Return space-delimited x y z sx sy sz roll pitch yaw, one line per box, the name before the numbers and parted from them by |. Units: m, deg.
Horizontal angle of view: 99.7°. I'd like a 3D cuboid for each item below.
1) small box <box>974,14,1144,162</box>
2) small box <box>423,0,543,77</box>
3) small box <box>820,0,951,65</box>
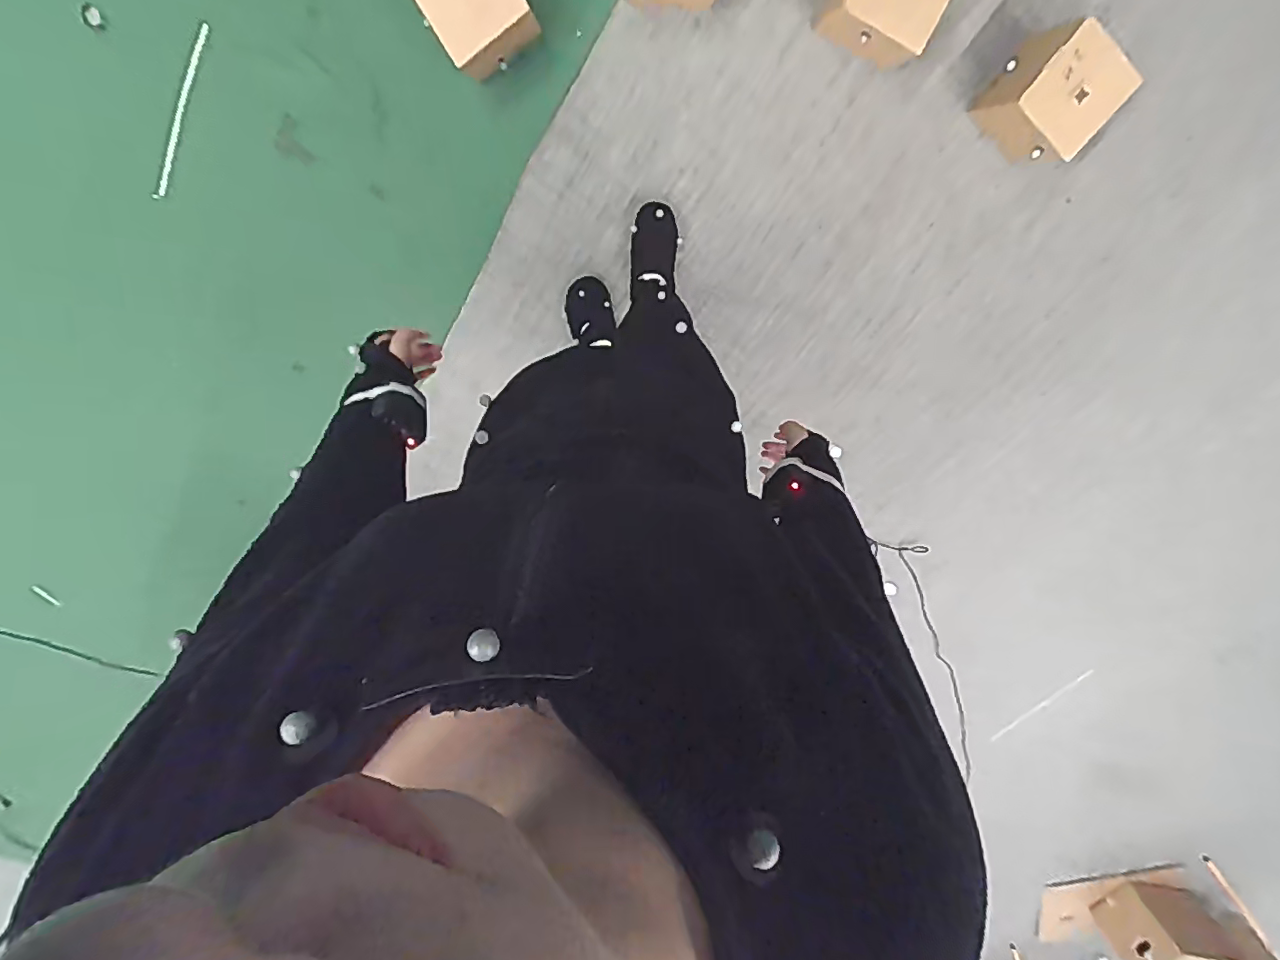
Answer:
small box | 0.830 -0.774 1.089 0.179 0.176 0.168 32 113 -17
small box | -0.300 -0.892 0.999 0.168 0.176 0.179 -28 116 13
small box | 0.466 -0.912 1.004 0.179 0.176 0.168 20 116 -13
